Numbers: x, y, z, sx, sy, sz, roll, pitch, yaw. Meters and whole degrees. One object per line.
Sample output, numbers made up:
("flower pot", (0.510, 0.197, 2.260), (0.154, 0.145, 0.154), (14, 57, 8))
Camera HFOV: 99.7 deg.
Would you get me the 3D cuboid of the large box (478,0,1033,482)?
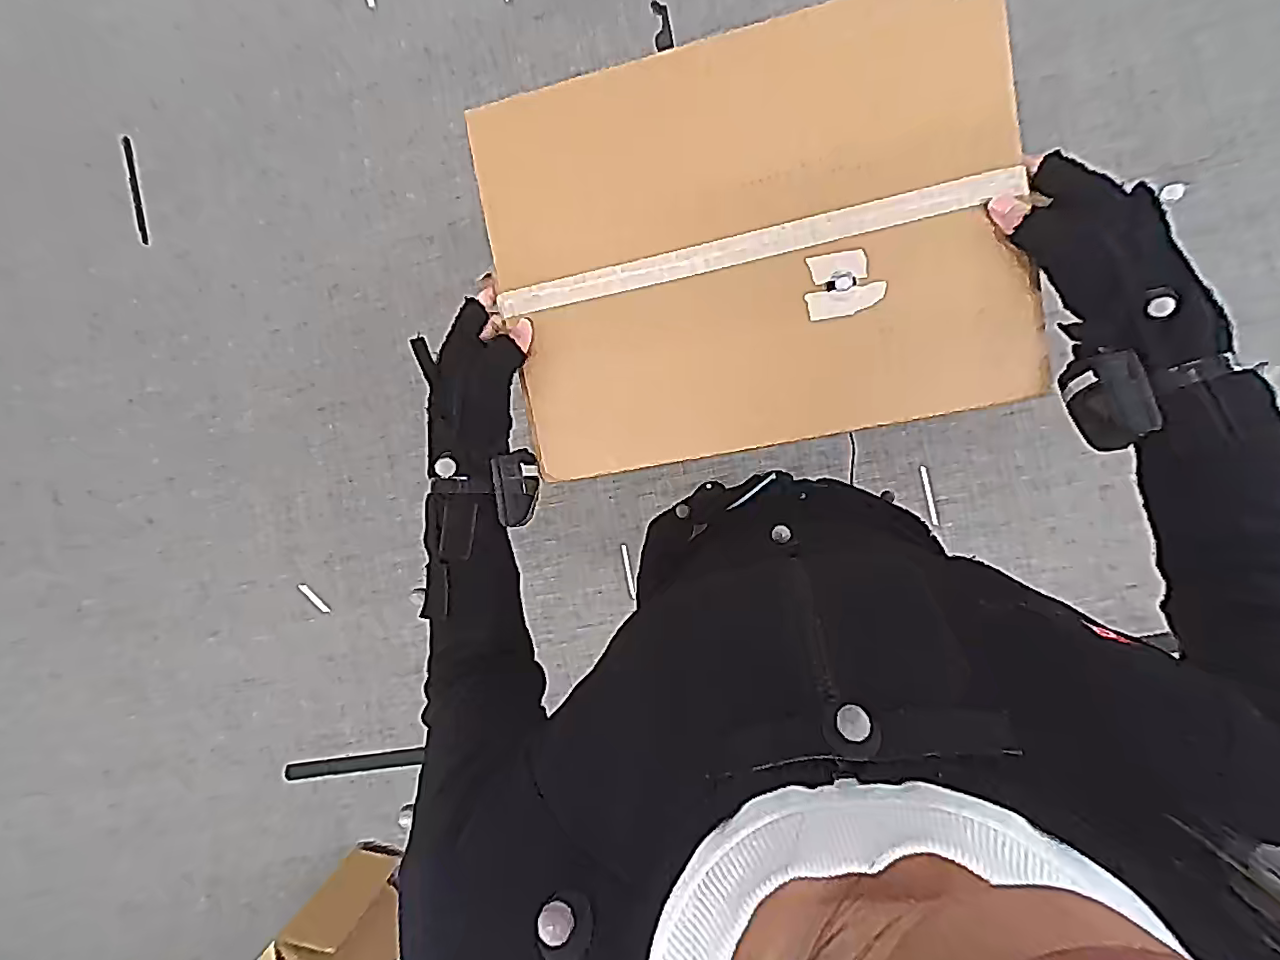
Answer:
("large box", (0.102, -0.201, 0.584), (0.408, 0.320, 0.320), (-11, 96, 9))
